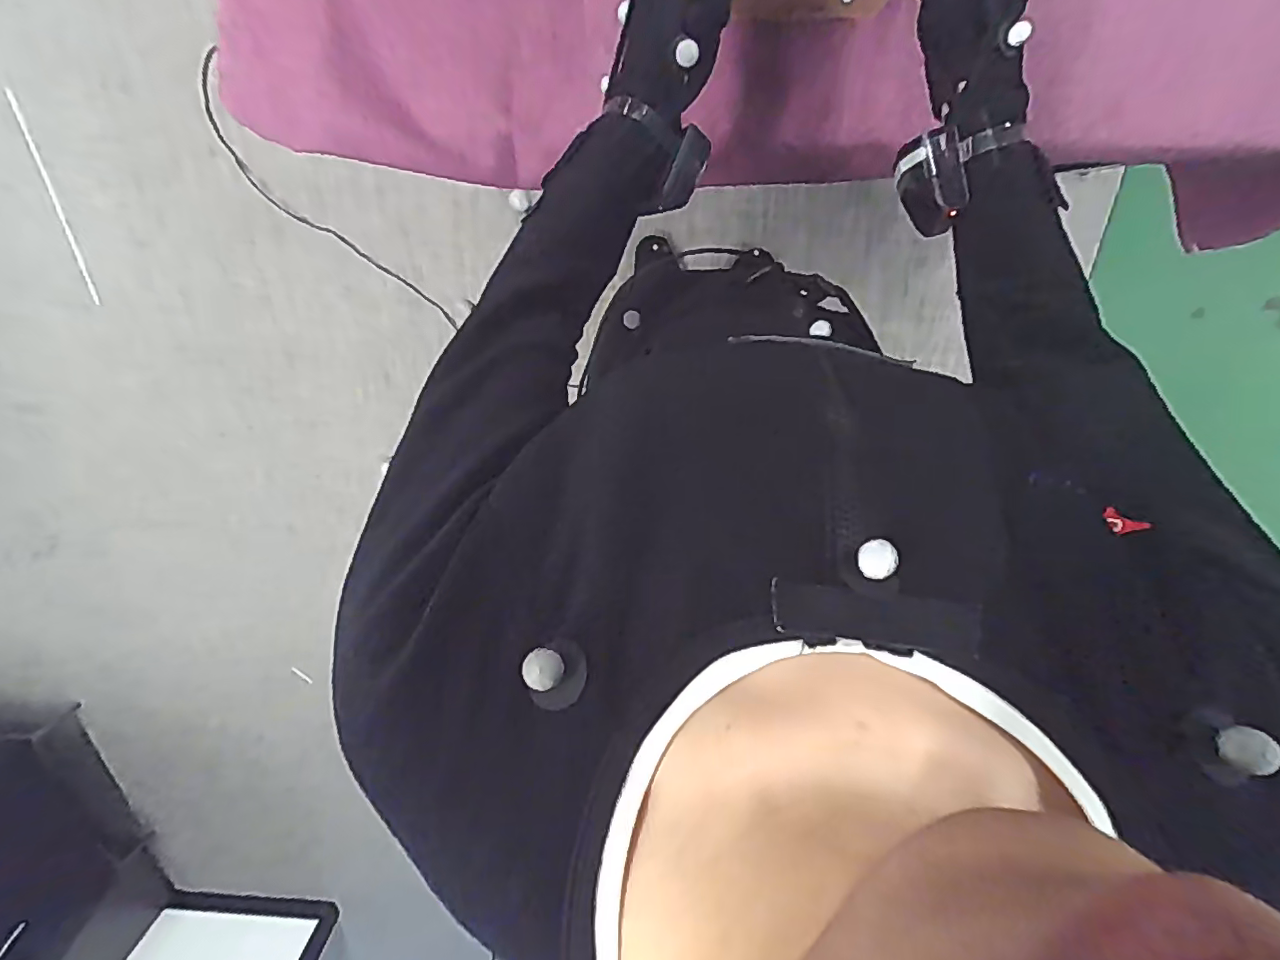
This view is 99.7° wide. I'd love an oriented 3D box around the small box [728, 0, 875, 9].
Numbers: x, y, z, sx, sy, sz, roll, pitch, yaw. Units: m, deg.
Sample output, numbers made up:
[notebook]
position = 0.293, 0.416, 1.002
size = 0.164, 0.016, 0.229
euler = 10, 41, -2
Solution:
[small box]
position = 0.144, -0.504, 0.422
size = 0.168, 0.176, 0.179
euler = 2, 114, 3
